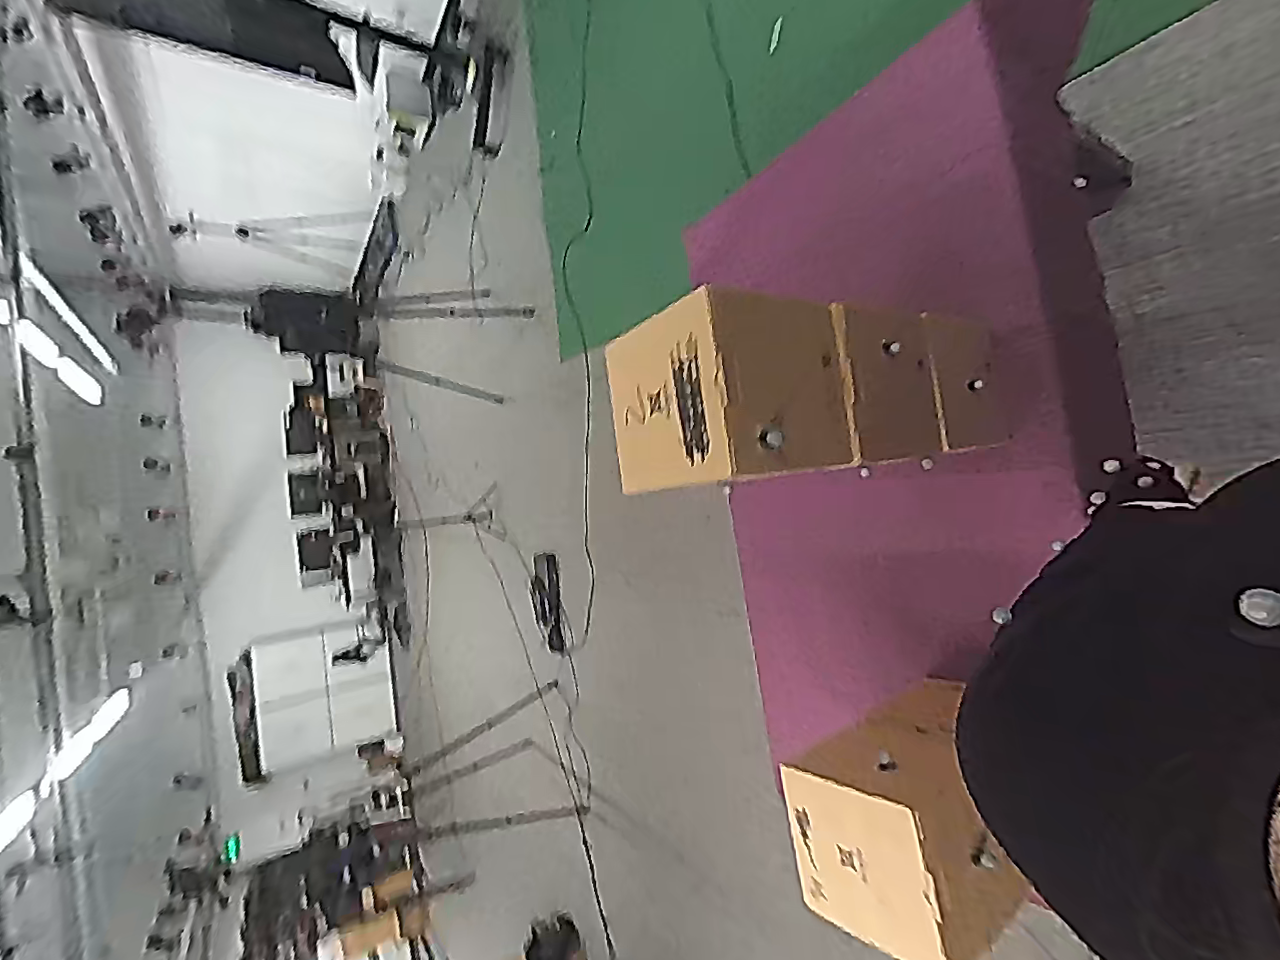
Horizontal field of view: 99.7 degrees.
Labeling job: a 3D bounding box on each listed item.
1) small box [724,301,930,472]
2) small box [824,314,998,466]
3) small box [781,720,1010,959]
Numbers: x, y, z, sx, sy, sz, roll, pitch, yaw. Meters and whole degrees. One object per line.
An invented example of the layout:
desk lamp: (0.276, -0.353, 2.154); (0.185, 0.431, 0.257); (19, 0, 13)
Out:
small box: (0.230, -0.103, 0.659); (0.179, 0.176, 0.168); (-8, 87, 56)
small box: (0.365, -0.116, 0.749); (0.179, 0.176, 0.168); (-12, 84, 55)
small box: (0.297, 0.399, 0.630); (0.179, 0.176, 0.168); (-18, 78, 55)
